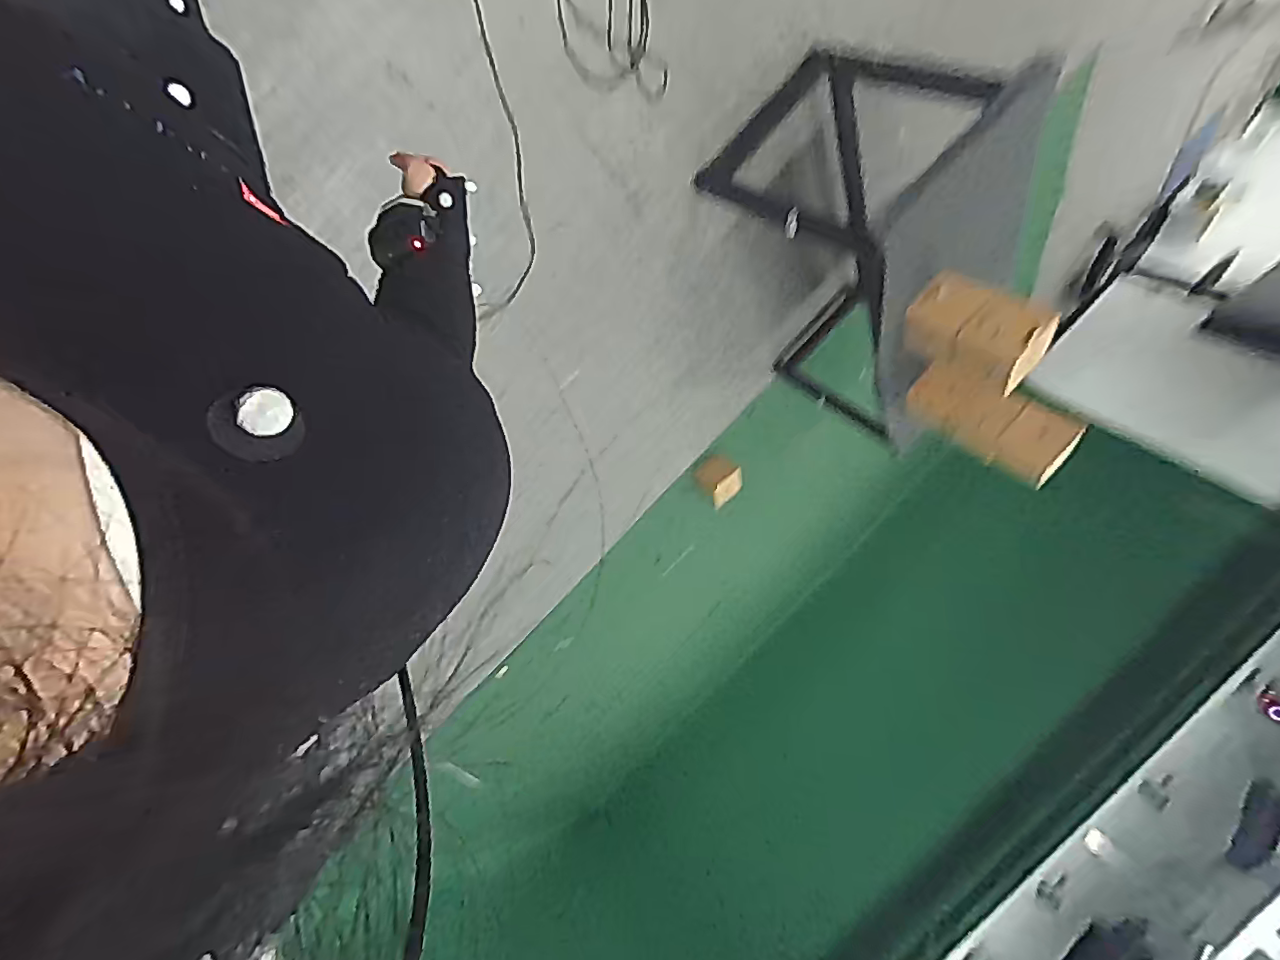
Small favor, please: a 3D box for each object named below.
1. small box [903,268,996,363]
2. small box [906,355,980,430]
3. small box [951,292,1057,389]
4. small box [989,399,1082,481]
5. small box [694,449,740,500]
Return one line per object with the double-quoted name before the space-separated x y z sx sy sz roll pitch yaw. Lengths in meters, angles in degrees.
"small box" 0.896 -0.484 1.581 0.168 0.176 0.179 -47 145 1
"small box" 1.086 -0.321 1.949 0.179 0.176 0.168 -48 146 1
"small box" 0.989 -0.390 1.487 0.168 0.176 0.179 -45 147 1
"small box" 1.280 -0.133 1.762 0.179 0.176 0.168 -50 145 4
"small box" 0.401 -0.036 2.829 0.168 0.176 0.179 -36 145 -11
